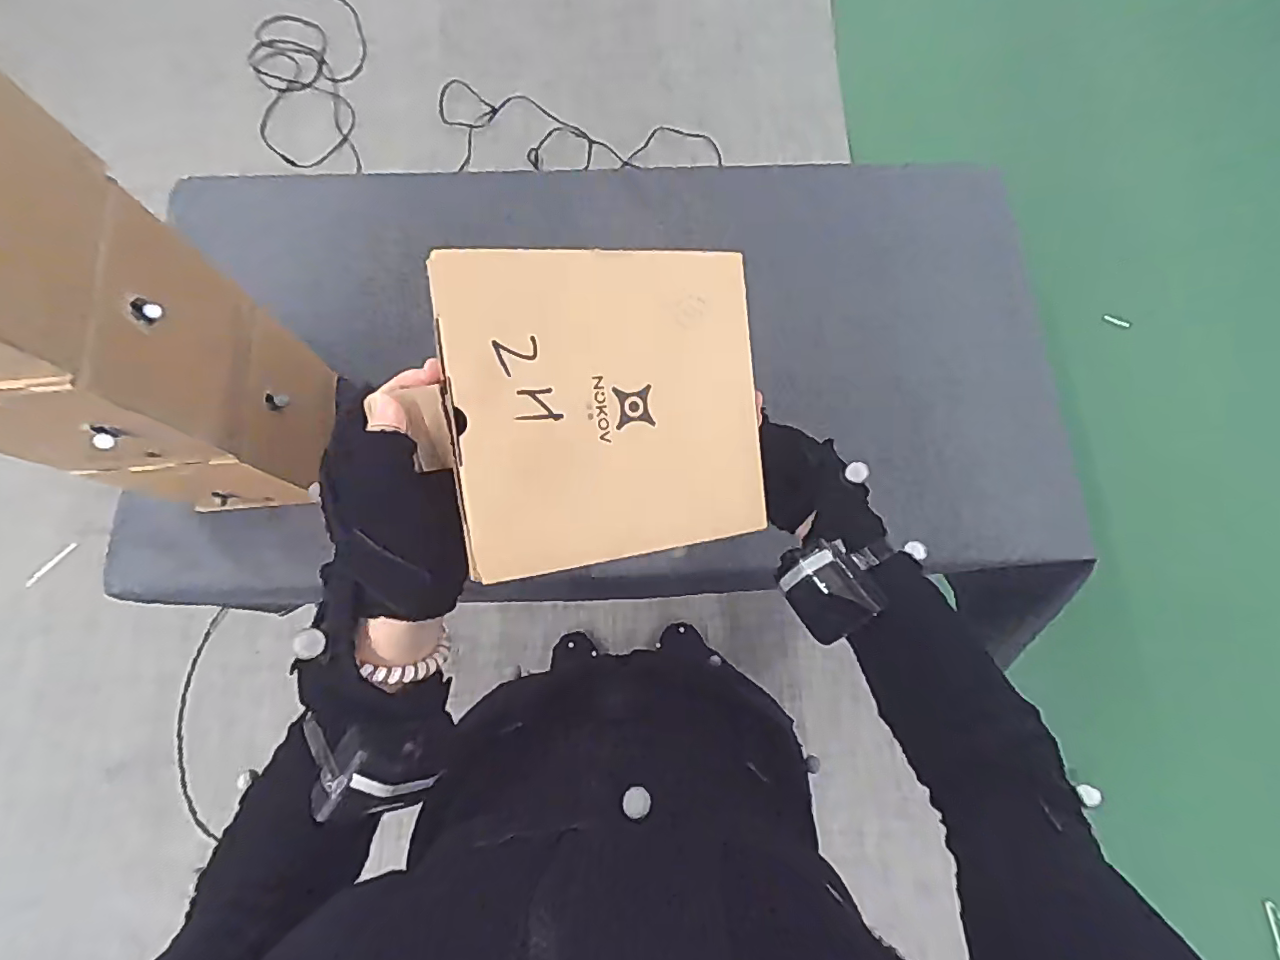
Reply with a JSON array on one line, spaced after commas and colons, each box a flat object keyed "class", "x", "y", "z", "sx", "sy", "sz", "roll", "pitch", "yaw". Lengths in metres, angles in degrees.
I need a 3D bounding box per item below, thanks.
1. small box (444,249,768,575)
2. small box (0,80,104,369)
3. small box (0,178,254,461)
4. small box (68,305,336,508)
[{"class": "small box", "x": -0.034, "y": -0.045, "z": 0.372, "sx": 0.179, "sy": 0.176, "sz": 0.168, "roll": -7, "pitch": 95, "yaw": -18}, {"class": "small box", "x": -0.467, "y": -0.169, "z": 0.305, "sx": 0.168, "sy": 0.176, "sz": 0.179, "roll": -5, "pitch": 75, "yaw": -4}, {"class": "small box", "x": -0.469, "y": -0.119, "z": 0.461, "sx": 0.168, "sy": 0.176, "sz": 0.179, "roll": -4, "pitch": 75, "yaw": -3}, {"class": "small box", "x": -0.473, "y": -0.075, "z": 0.618, "sx": 0.168, "sy": 0.176, "sz": 0.179, "roll": -5, "pitch": 75, "yaw": -2}]
